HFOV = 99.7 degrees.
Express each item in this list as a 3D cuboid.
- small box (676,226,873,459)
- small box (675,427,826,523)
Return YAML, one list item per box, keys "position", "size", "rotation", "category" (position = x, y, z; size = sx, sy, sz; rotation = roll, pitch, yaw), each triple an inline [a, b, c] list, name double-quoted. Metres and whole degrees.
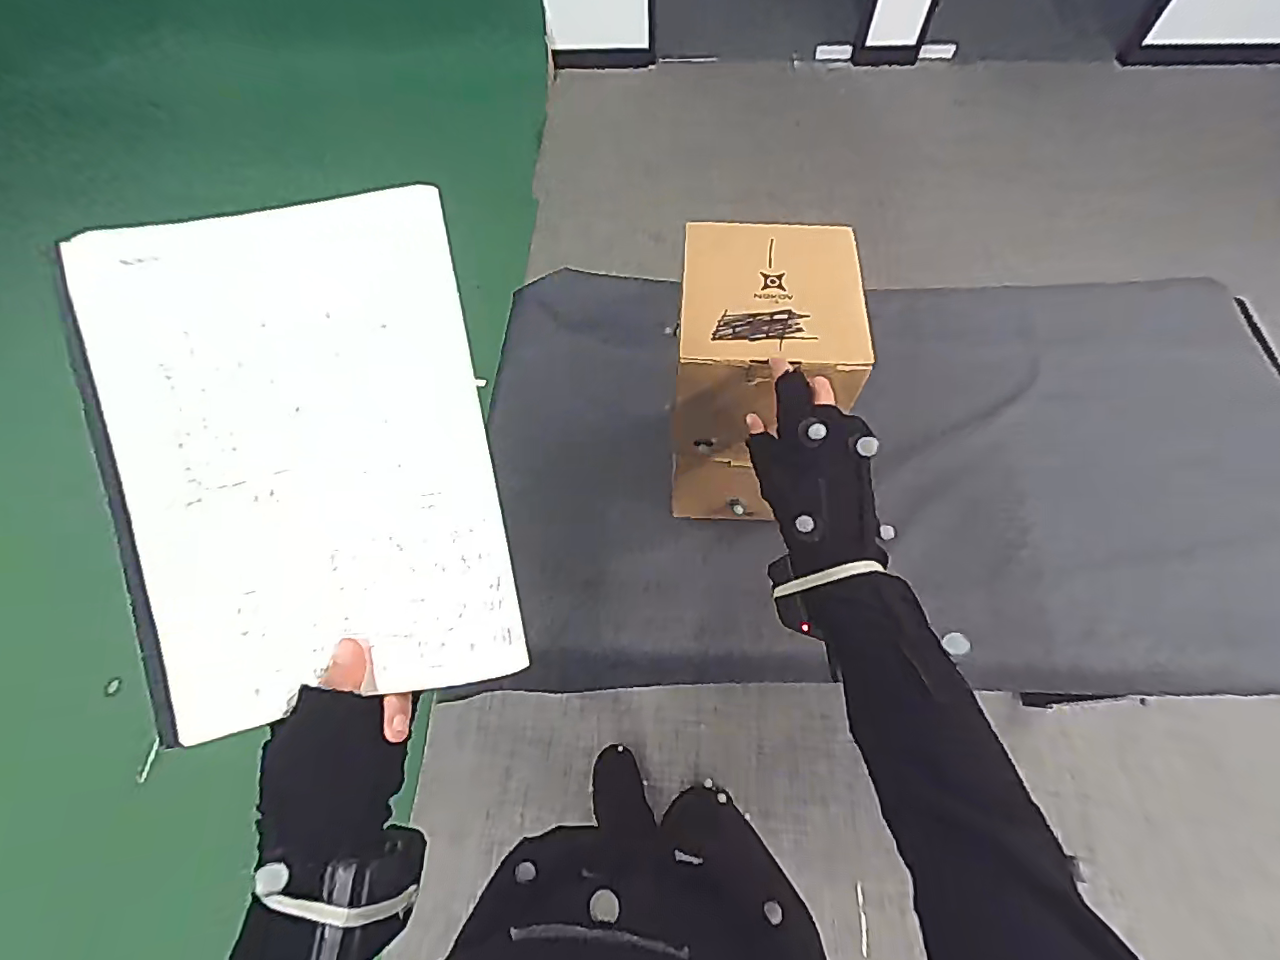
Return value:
- position: [0.126, -0.136, 0.569]
  size: [0.168, 0.176, 0.179]
  rotation: [3, 62, 3]
  category: "small box"
- position: [0.132, -0.058, 0.713]
  size: [0.168, 0.176, 0.179]
  rotation: [2, 63, 3]
  category: "small box"
